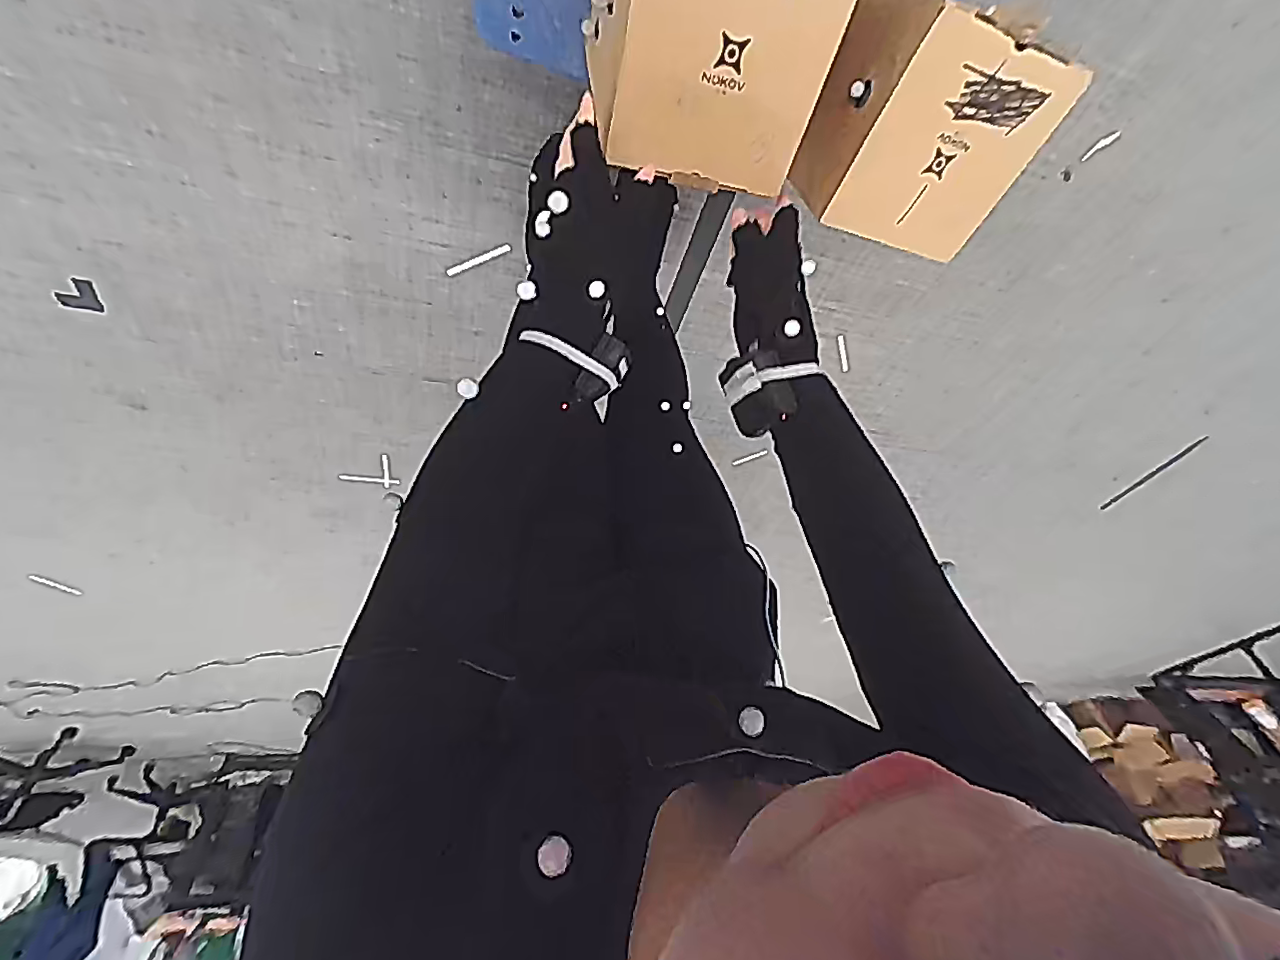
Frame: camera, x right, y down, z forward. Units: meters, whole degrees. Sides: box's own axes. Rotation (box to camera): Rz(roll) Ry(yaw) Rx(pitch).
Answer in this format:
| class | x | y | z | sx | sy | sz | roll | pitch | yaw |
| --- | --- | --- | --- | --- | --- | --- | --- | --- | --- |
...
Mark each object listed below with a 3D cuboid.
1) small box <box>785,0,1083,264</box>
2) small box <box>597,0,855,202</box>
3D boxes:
| class | x | y | z | sx | sy | sz | roll | pitch | yaw |
| --- | --- | --- | --- | --- | --- | --- | --- | --- | --- |
| small box | 0.265 | -0.356 | 0.542 | 0.168 | 0.176 | 0.179 | 8 | 138 | -19 |
| small box | 0.057 | -0.384 | 0.476 | 0.168 | 0.176 | 0.179 | 4 | 139 | -15 |
